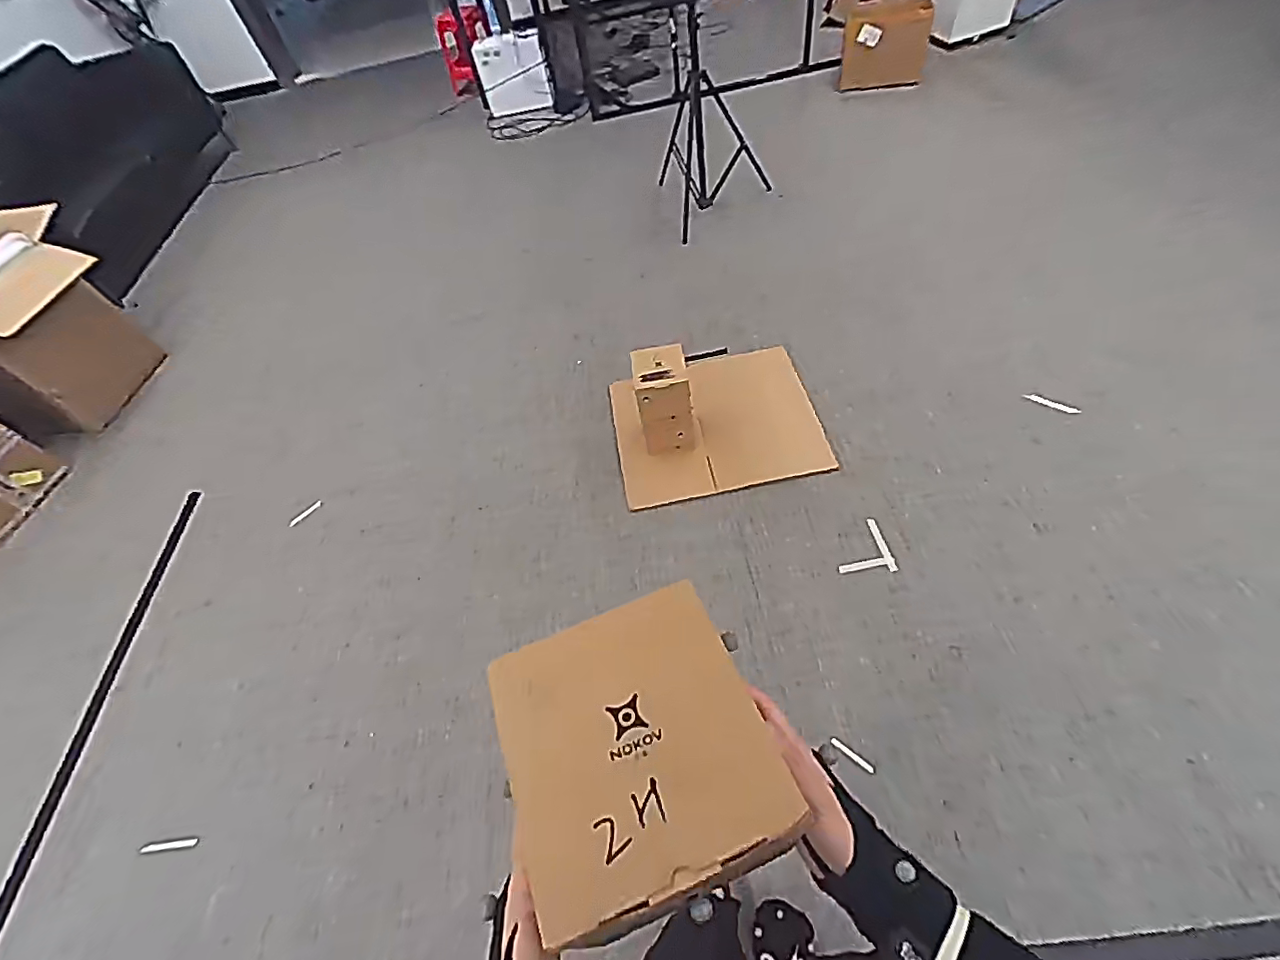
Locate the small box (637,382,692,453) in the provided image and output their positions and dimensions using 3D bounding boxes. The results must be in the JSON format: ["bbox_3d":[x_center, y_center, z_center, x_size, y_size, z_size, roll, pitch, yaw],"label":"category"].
[{"bbox_3d":[0.087,-0.208,1.859,0.168,0.176,0.179,-8,53,3],"label":"small box"}]

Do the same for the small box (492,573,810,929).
[{"bbox_3d":[0.004,0.209,0.416,0.168,0.176,0.179,-21,51,-8],"label":"small box"}]
